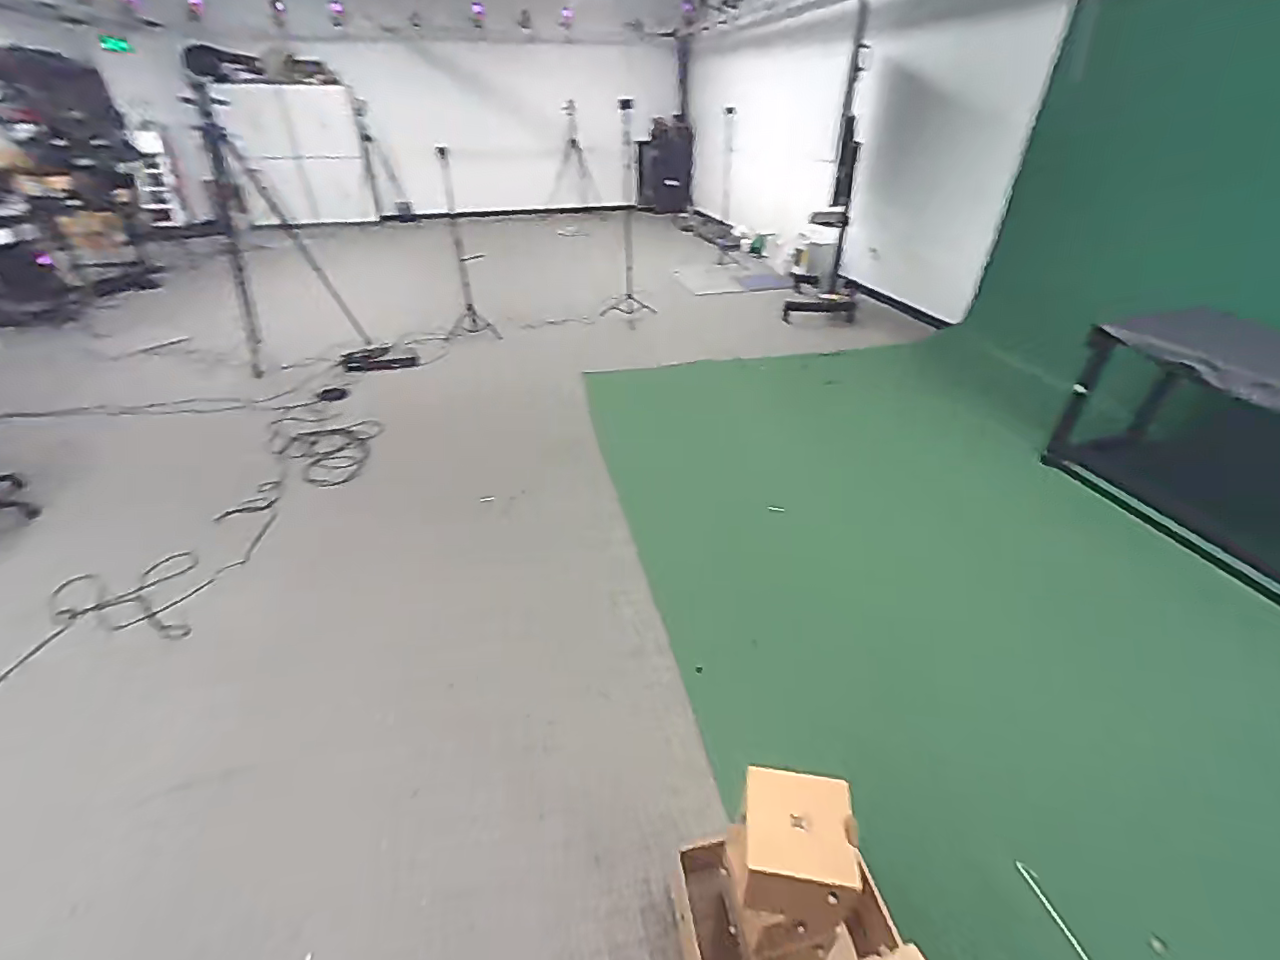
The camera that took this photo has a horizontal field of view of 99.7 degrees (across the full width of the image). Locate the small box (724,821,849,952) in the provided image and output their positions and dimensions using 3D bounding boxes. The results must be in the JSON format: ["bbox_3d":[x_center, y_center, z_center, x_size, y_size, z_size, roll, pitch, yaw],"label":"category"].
[{"bbox_3d":[0.267,0.764,1.037,0.179,0.176,0.168,-6,36,-10],"label":"small box"}]

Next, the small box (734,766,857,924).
[{"bbox_3d":[0.260,0.634,0.940,0.179,0.176,0.168,6,36,8],"label":"small box"}]
